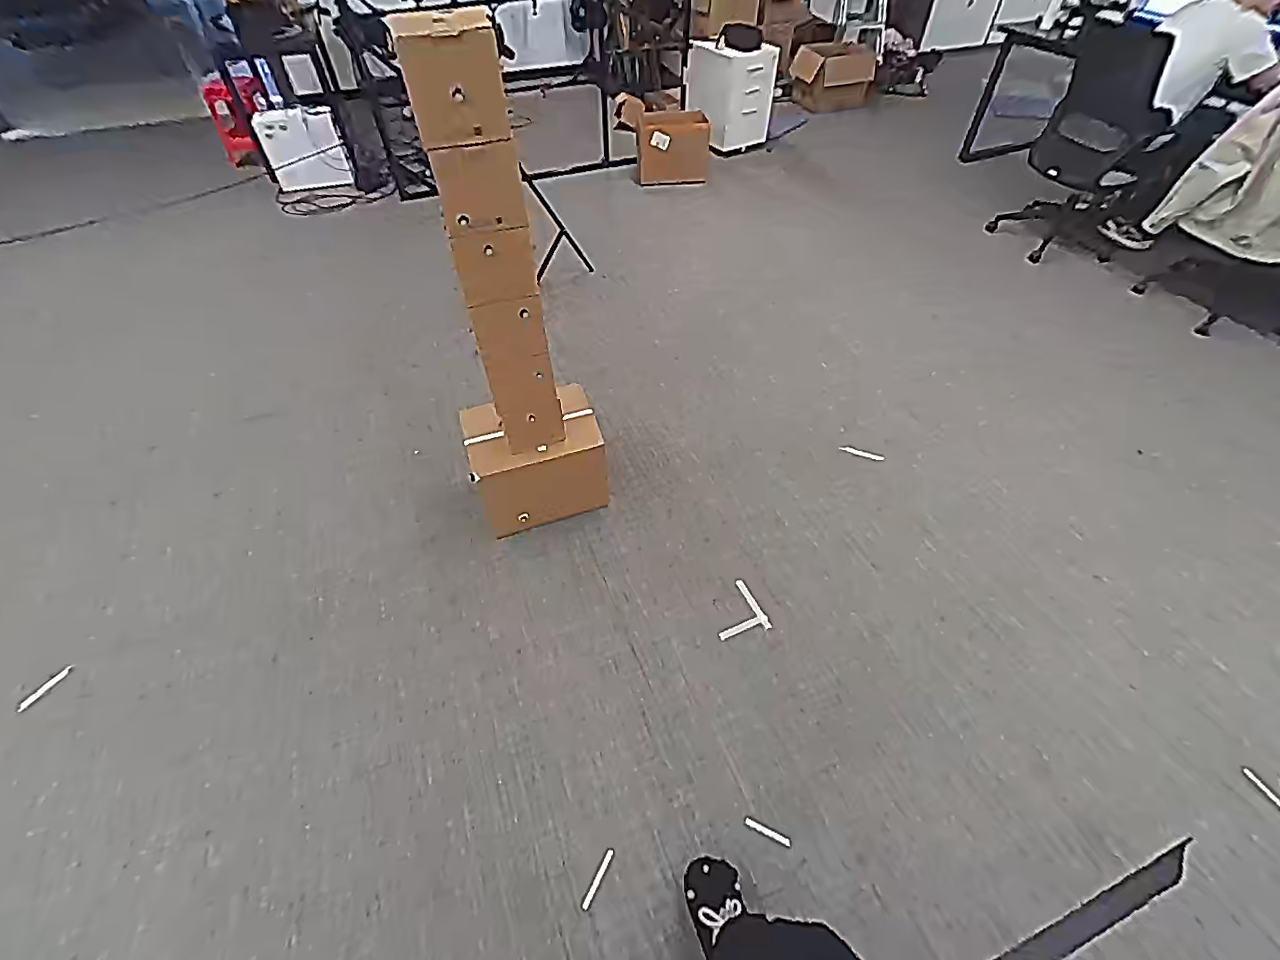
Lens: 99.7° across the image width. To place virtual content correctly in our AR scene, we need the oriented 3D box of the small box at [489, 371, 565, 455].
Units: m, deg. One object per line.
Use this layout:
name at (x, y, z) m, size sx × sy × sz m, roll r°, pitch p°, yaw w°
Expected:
small box at (-0.337, -0.198, 1.629) m, size 0.179 × 0.176 × 0.168 m, roll -17°, pitch 52°, yaw -15°

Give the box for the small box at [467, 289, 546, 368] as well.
small box at (-0.343, -0.412, 1.380) m, size 0.179 × 0.176 × 0.168 m, roll -15°, pitch 51°, yaw -12°

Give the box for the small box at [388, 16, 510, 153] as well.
small box at (-0.351, -0.729, 1.006) m, size 0.168 × 0.176 × 0.179 m, roll -16°, pitch 53°, yaw -12°

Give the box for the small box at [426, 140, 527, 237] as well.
small box at (-0.344, -0.626, 1.134) m, size 0.168 × 0.176 × 0.179 m, roll -15°, pitch 51°, yaw -11°

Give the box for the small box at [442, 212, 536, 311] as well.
small box at (-0.345, -0.518, 1.257) m, size 0.179 × 0.176 × 0.168 m, roll -15°, pitch 52°, yaw -11°
